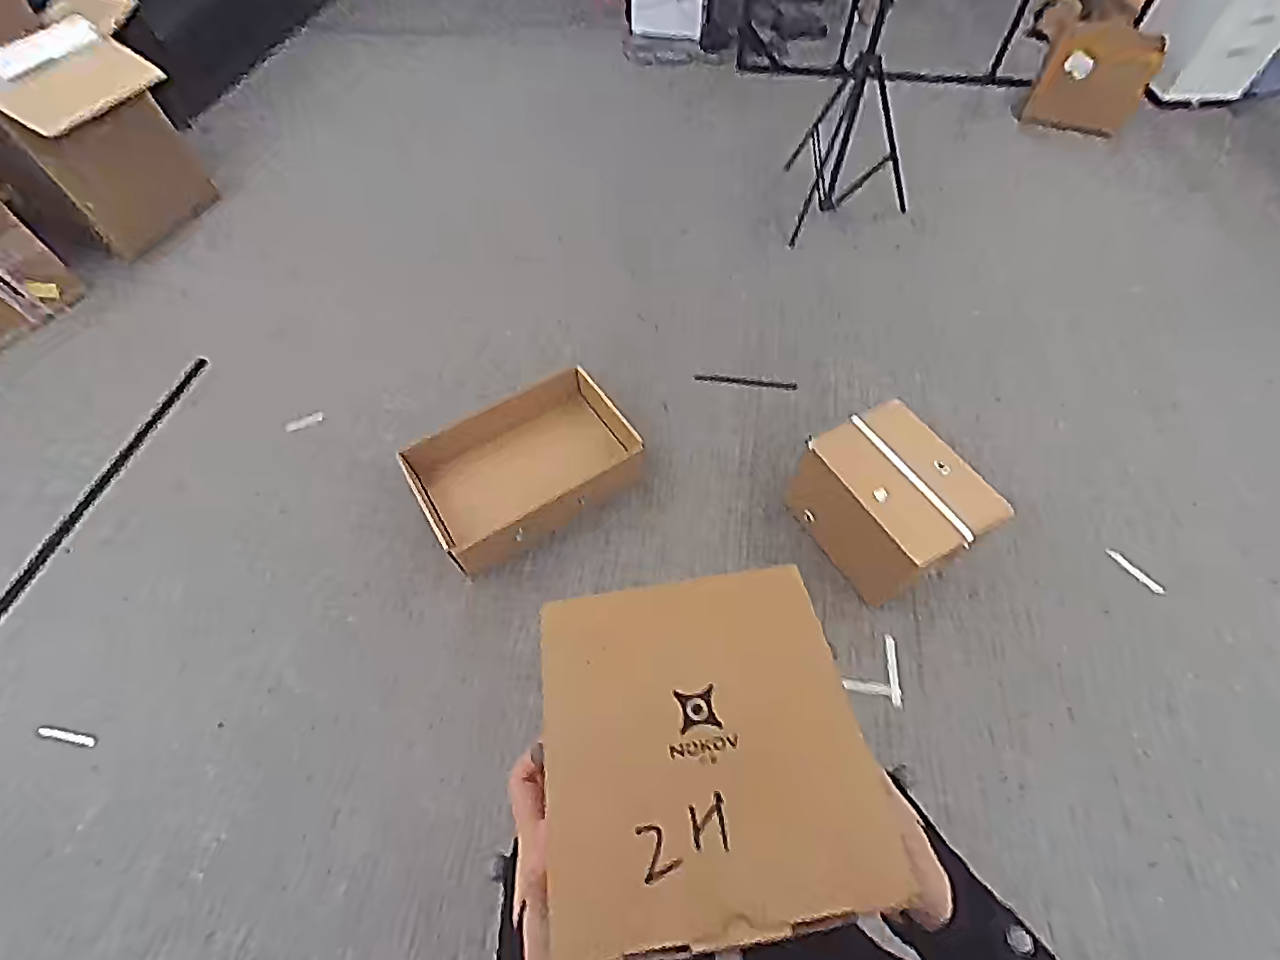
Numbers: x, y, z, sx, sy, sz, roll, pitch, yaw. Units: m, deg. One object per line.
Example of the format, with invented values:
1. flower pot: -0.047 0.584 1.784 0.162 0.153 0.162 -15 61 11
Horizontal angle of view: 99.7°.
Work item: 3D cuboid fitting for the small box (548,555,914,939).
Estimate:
1. small box: 0.035 0.174 0.351 0.168 0.176 0.179 -8 51 -2
